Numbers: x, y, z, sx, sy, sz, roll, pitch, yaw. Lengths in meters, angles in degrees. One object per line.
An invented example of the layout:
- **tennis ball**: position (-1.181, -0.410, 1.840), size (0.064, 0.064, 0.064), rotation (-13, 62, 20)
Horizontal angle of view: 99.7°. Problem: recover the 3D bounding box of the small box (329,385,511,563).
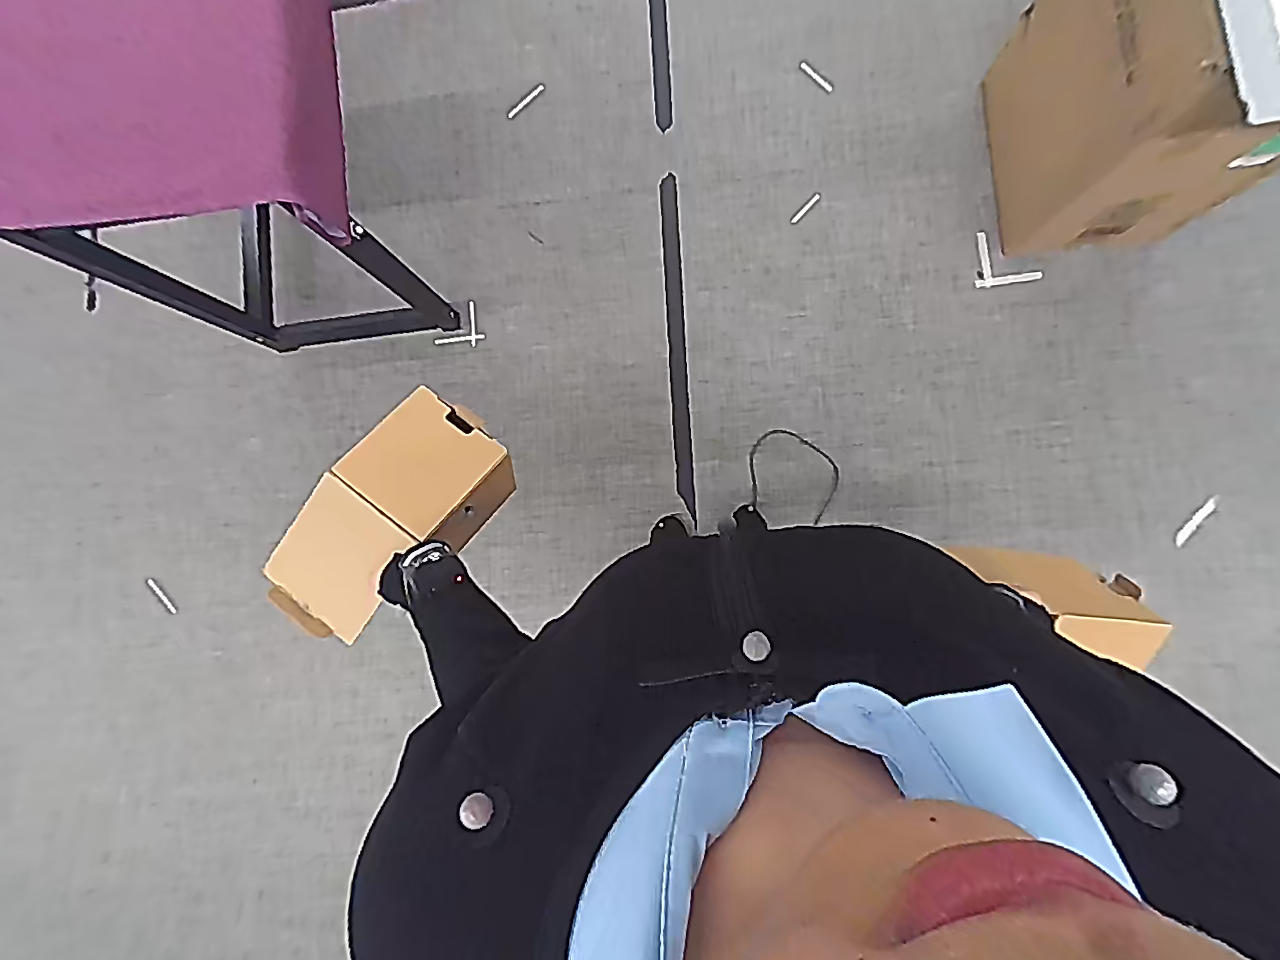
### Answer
- **small box**: position (-0.309, 0.001, 0.807), size (0.168, 0.176, 0.179), rotation (37, 68, 5)
